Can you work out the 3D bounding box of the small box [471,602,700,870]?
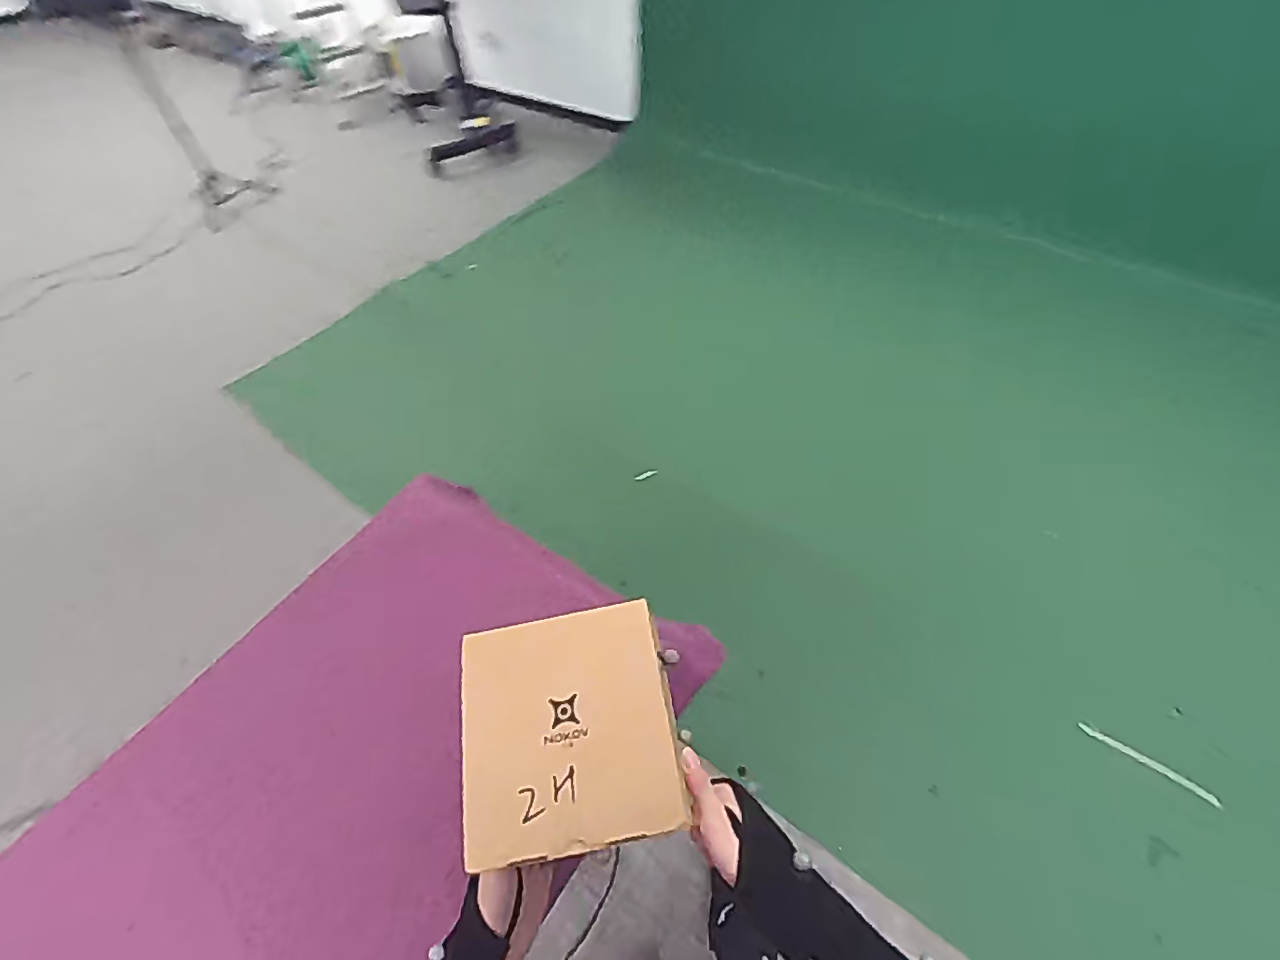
[{"bbox_3d":[-0.043,0.232,0.493,0.168,0.176,0.179,-10,59,1],"label":"small box"}]
